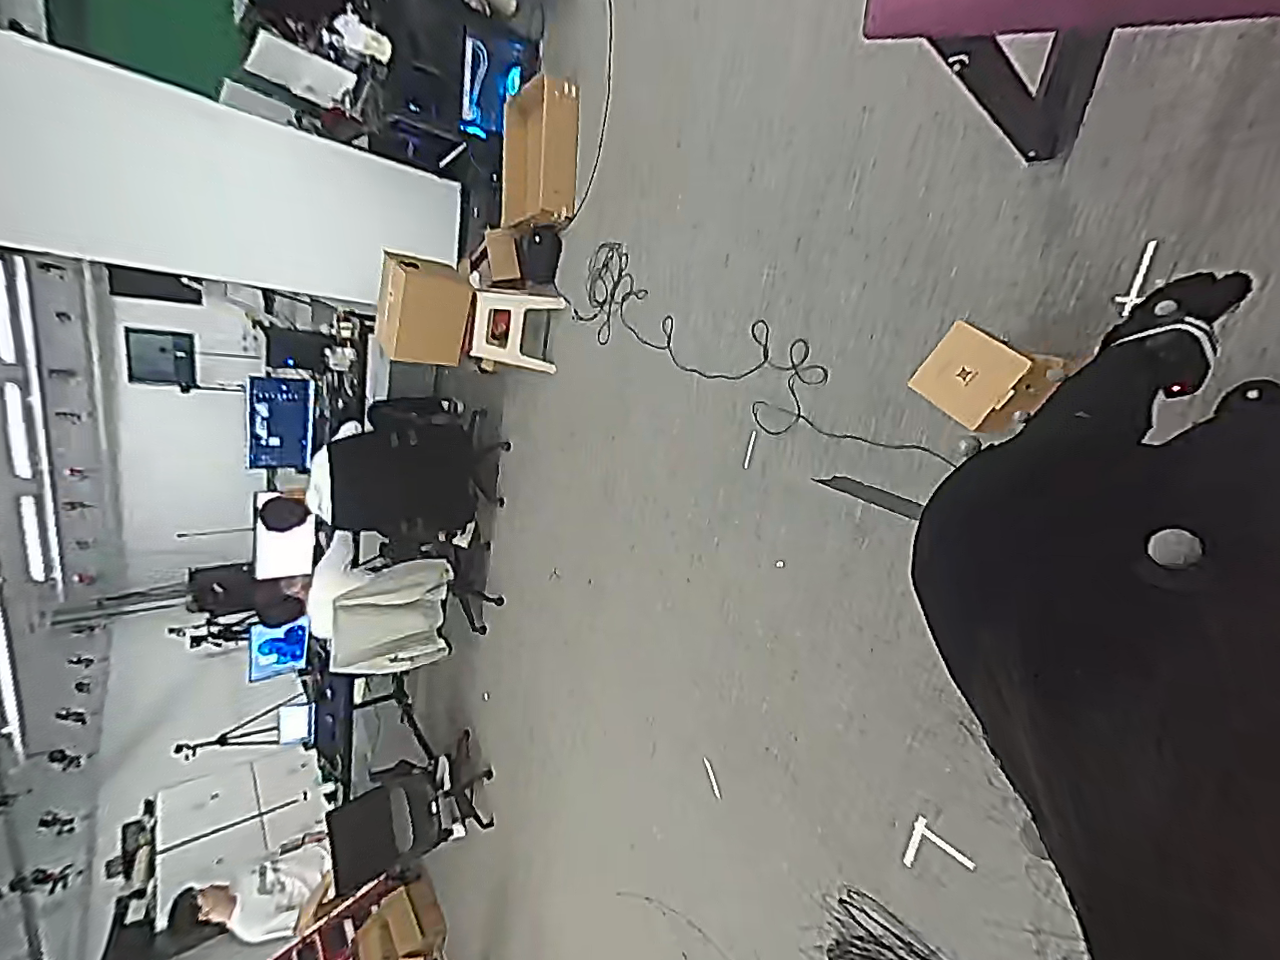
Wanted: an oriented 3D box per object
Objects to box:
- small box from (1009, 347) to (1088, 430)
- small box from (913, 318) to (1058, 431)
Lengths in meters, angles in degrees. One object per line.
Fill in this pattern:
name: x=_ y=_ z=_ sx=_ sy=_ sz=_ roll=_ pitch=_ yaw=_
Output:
small box: x=0.874 y=-0.213 z=1.234 sx=0.179 sy=0.176 sz=0.168 roll=29 pitch=115 yaw=44
small box: x=0.733 y=-0.220 z=1.147 sx=0.179 sy=0.176 sz=0.168 roll=52 pitch=128 yaw=35
